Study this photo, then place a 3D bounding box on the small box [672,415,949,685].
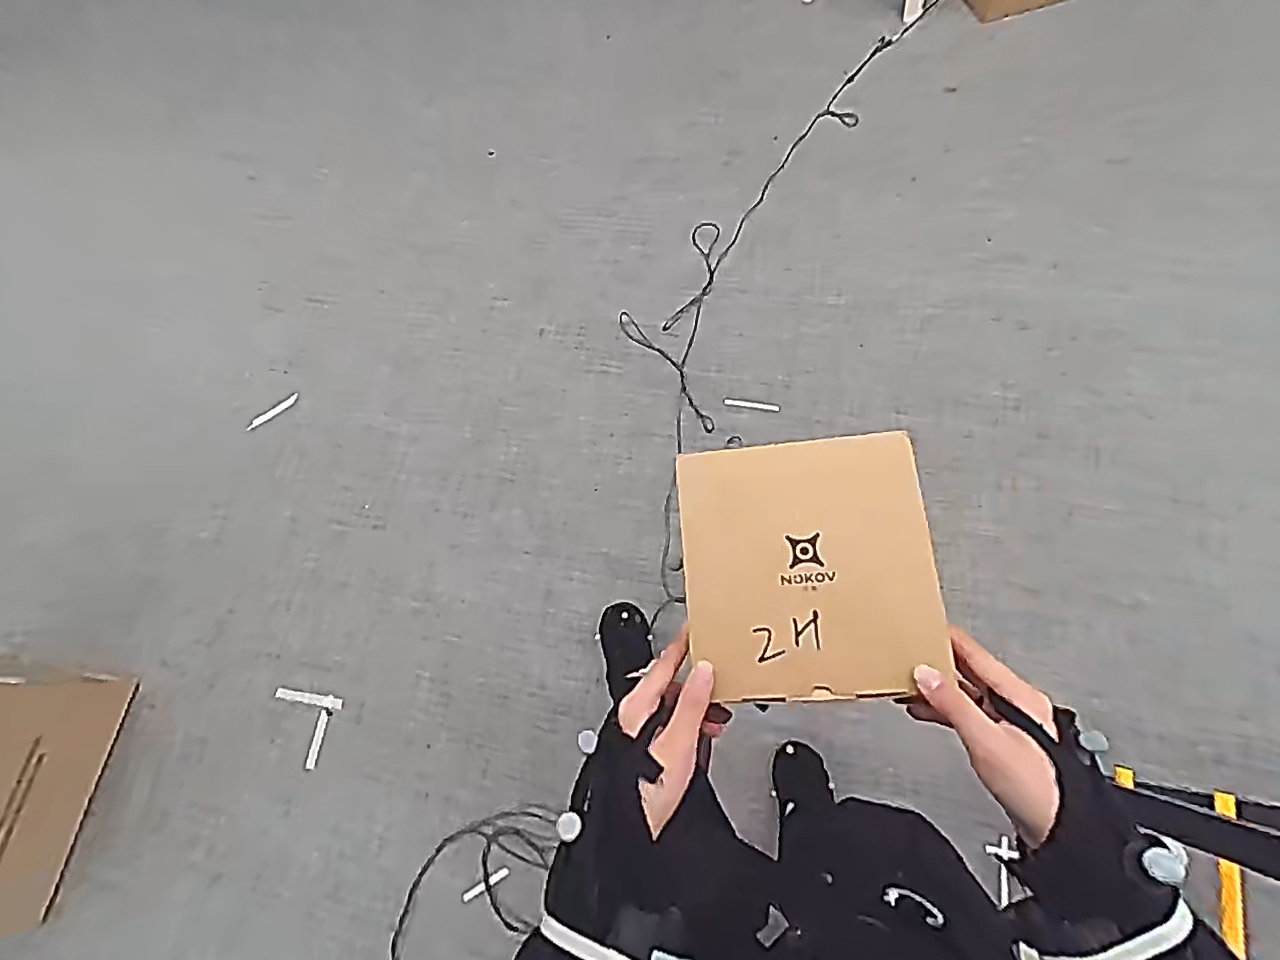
[{"bbox_3d":[0.118,0.064,0.438,0.168,0.176,0.179,-5,76,9],"label":"small box"}]
